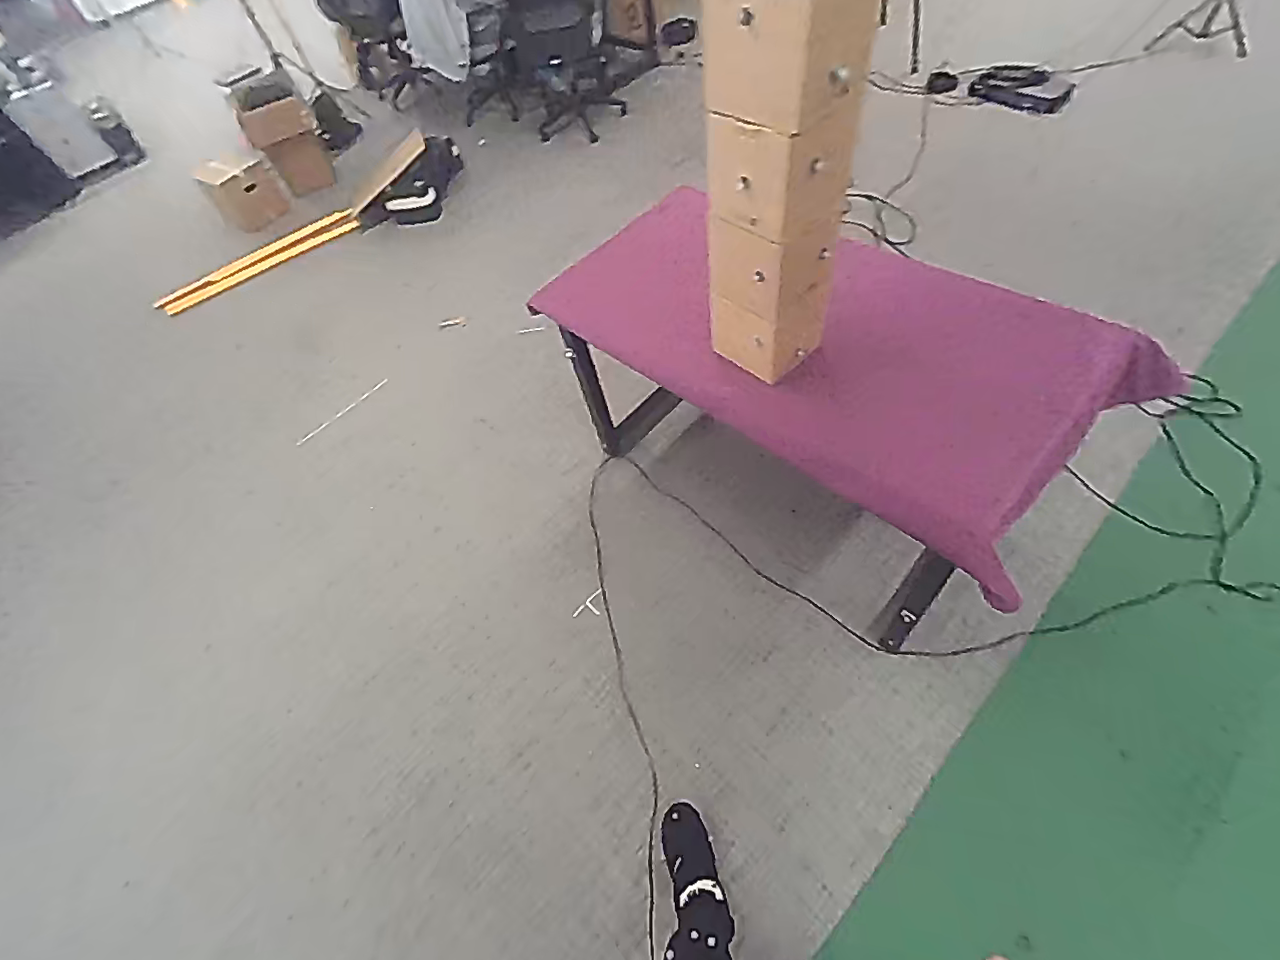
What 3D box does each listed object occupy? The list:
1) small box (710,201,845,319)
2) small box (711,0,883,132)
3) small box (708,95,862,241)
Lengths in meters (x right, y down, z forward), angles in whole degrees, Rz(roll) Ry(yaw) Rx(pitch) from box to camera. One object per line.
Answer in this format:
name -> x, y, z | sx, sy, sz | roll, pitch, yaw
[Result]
small box -> 0.255, -0.434, 1.025 | 0.168, 0.176, 0.179 | -39, 58, -16
small box -> 0.212, -0.623, 0.761 | 0.168, 0.176, 0.179 | -41, 59, -17
small box -> 0.235, -0.529, 0.894 | 0.179, 0.176, 0.168 | -39, 59, -16
